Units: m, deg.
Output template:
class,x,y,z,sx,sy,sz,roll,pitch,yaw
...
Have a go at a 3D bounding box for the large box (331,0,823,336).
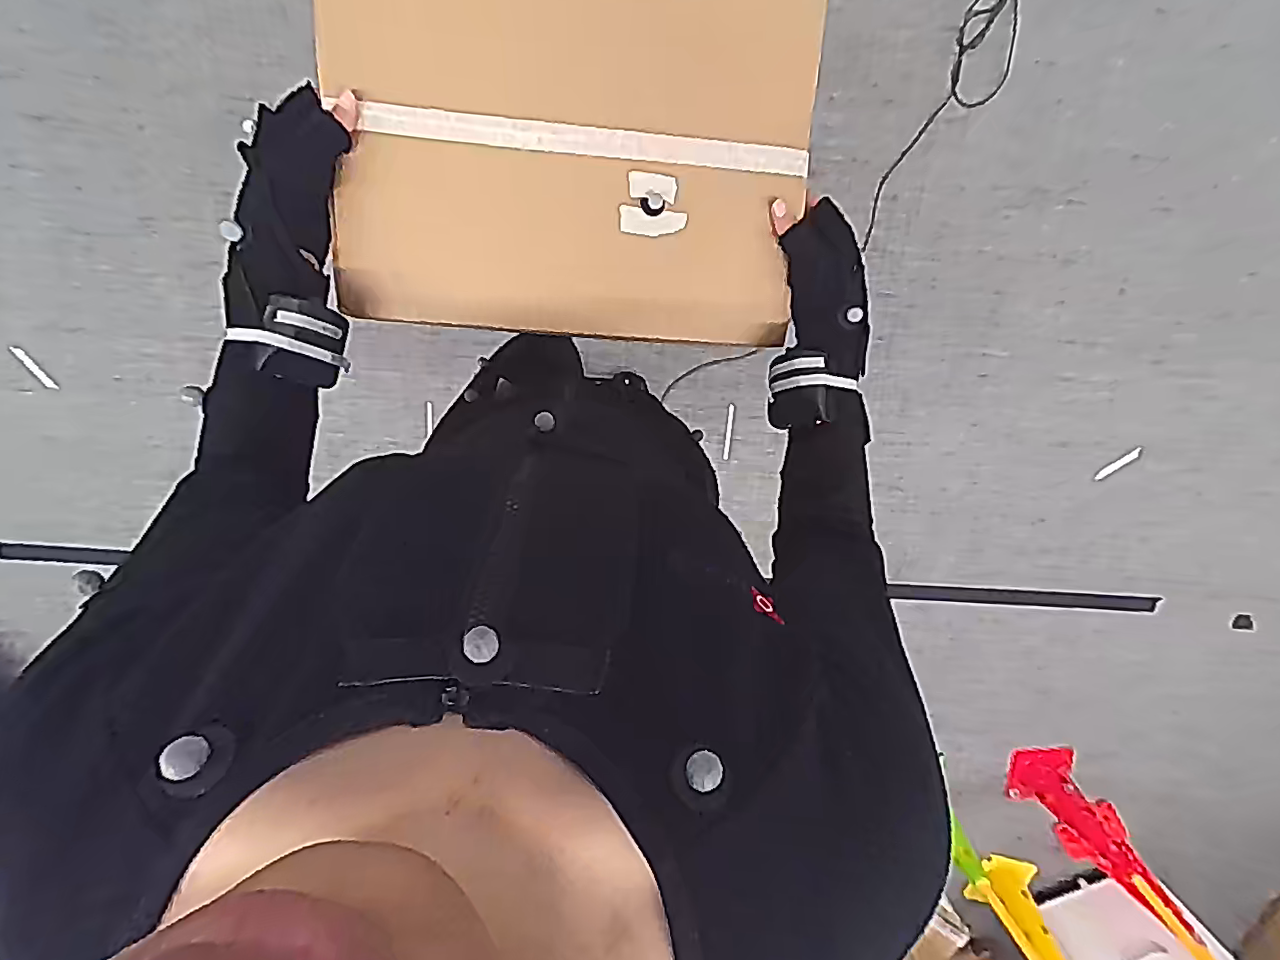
class,x,y,z,sx,sy,sz,roll,pitch,yaw
large box,-0.066,-0.330,0.606,0.408,0.320,0.320,2,105,-7
